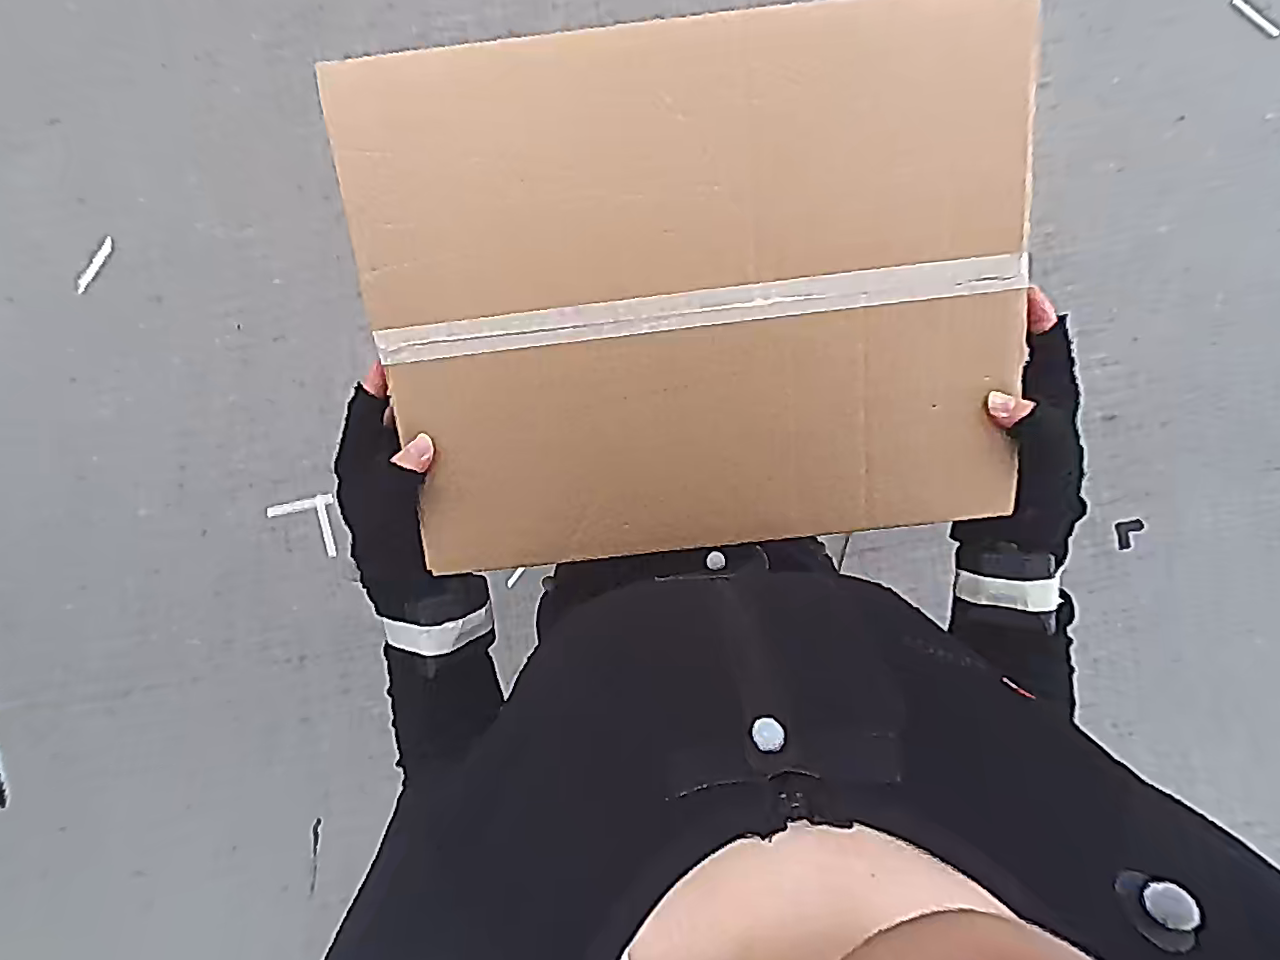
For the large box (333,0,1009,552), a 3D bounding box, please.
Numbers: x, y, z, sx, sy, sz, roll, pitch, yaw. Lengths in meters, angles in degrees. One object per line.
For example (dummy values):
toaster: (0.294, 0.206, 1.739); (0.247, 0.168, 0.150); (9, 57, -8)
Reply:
large box: (0.029, -0.153, 0.491); (0.408, 0.320, 0.320); (-6, 105, 1)
